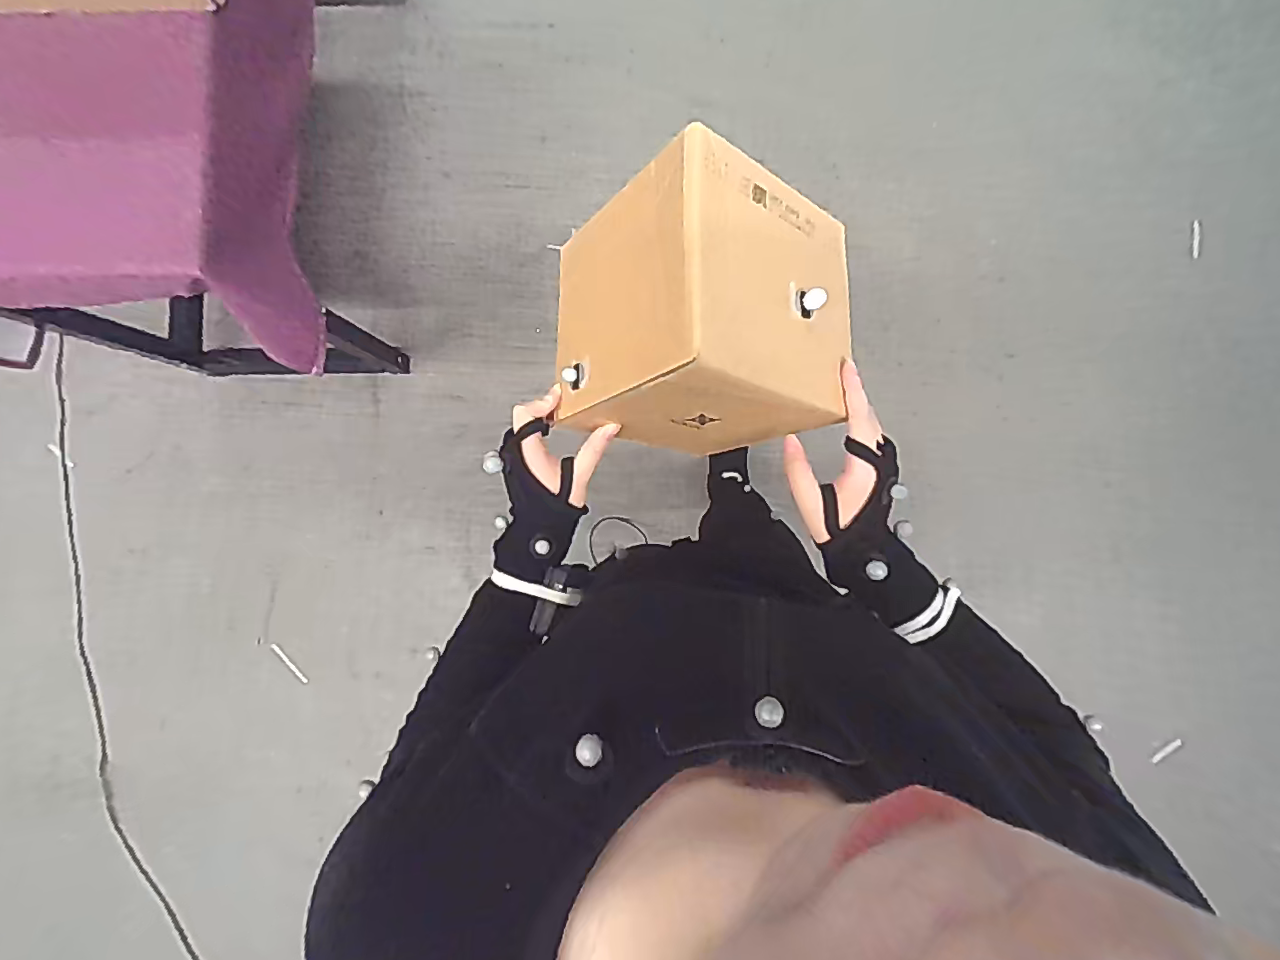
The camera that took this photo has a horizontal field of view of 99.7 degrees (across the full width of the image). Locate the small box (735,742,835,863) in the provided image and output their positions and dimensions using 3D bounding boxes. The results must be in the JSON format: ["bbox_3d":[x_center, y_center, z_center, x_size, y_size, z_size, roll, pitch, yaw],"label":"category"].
[{"bbox_3d":[0.317,0.722,1.226,0.179,0.176,0.168,-10,87,1],"label":"small box"}]

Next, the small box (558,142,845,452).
[{"bbox_3d":[0.044,-0.131,0.451,0.168,0.179,0.176,9,77,-35],"label":"small box"}]
